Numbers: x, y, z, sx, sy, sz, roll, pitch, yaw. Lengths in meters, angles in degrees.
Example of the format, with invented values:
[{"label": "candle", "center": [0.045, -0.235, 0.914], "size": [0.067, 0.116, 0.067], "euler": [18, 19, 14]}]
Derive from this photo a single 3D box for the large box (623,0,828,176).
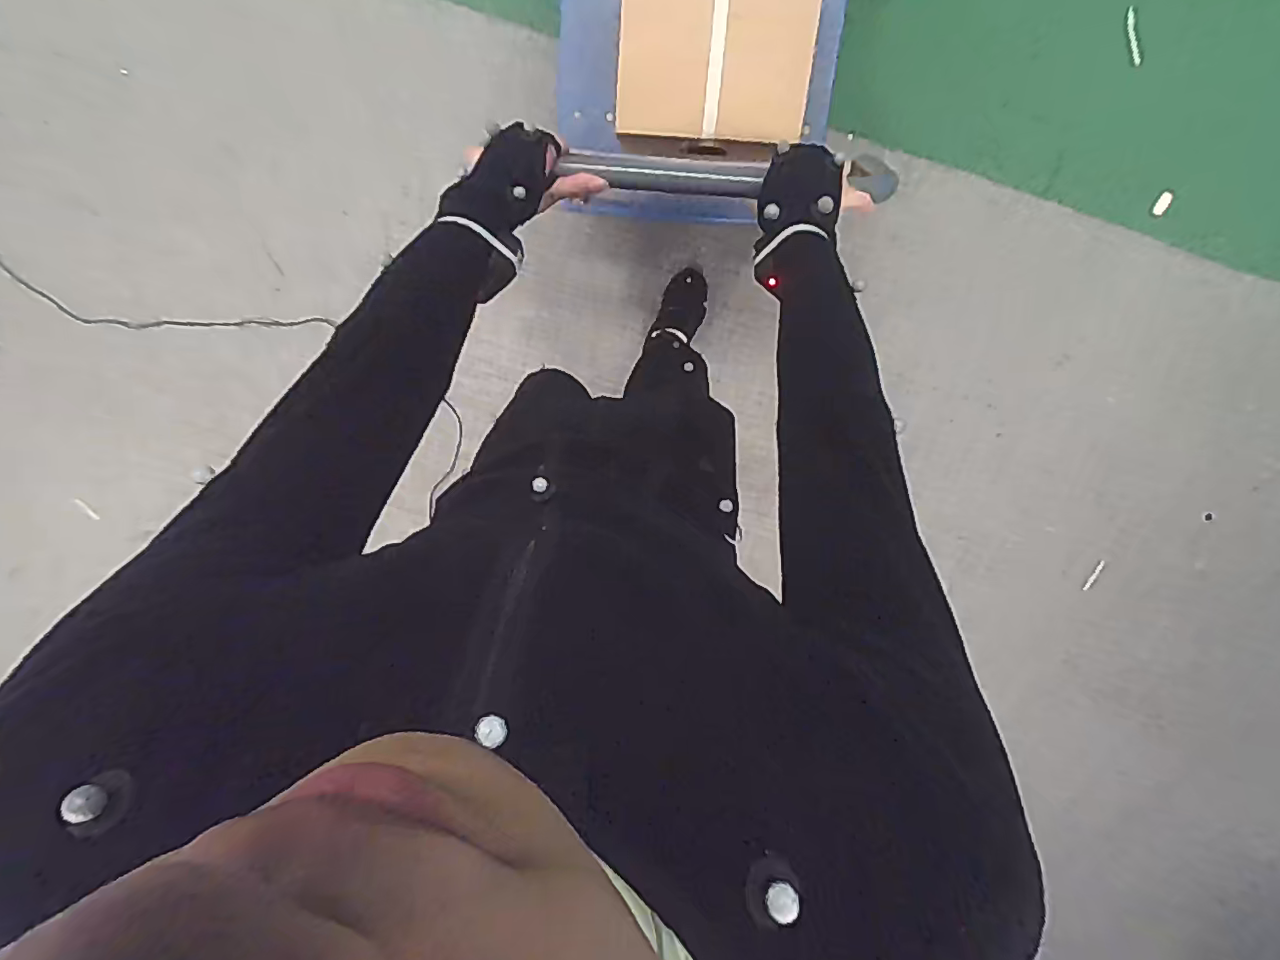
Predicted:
[{"label": "large box", "center": [0.150, -0.803, 0.972], "size": [0.320, 0.320, 0.408], "euler": [6, 110, 2]}]
